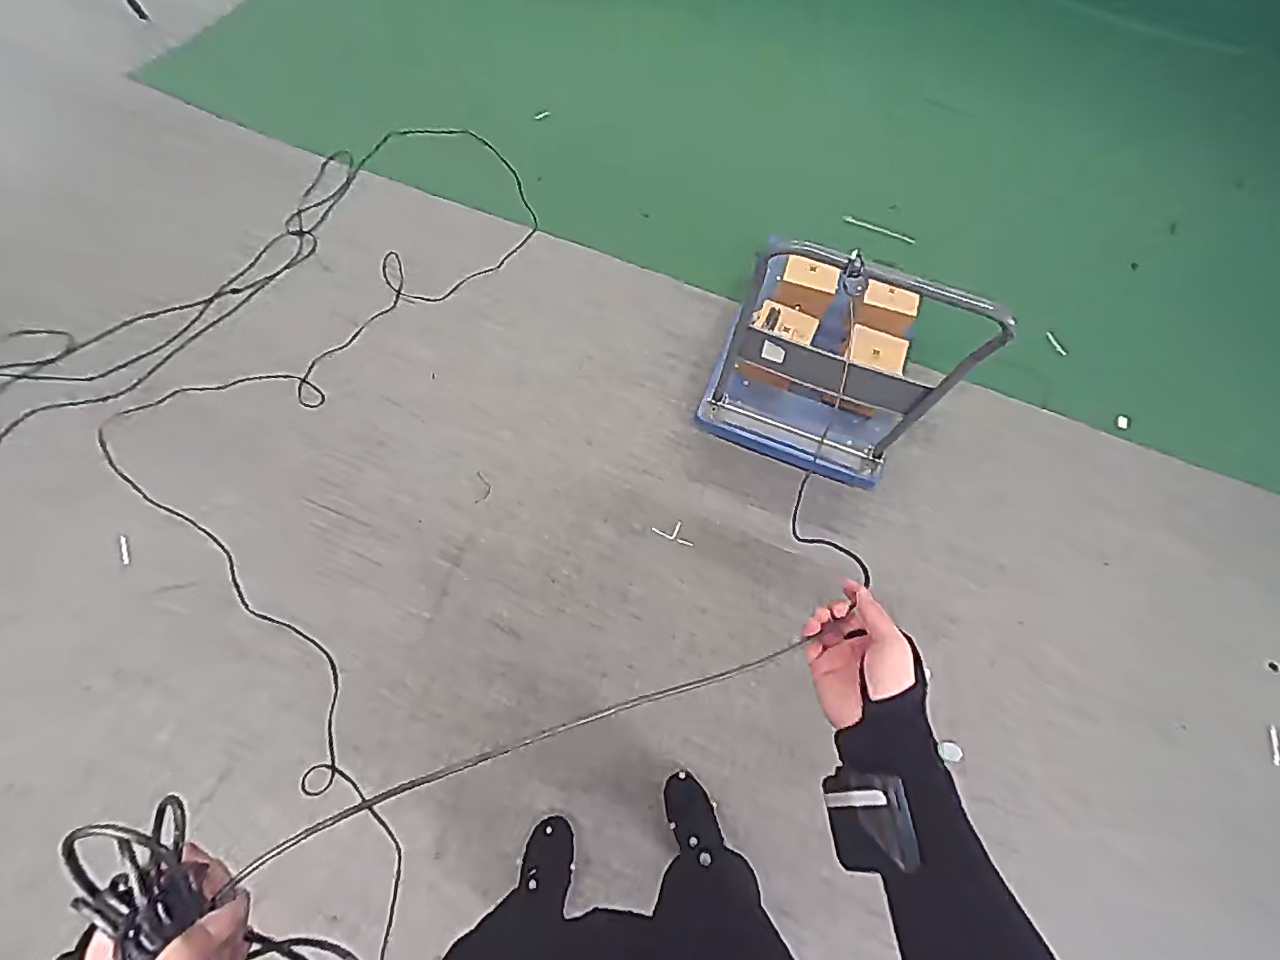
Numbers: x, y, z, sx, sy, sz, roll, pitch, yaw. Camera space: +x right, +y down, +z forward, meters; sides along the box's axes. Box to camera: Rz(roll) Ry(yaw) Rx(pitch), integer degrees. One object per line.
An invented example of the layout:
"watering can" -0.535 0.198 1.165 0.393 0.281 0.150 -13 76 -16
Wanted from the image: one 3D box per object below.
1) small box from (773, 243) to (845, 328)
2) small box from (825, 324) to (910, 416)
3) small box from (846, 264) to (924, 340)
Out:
"small box" 0.545 -0.628 1.764 0.168 0.176 0.179 18 65 5
"small box" 0.681 -0.327 1.630 0.168 0.176 0.179 23 67 7
"small box" 0.784 -0.551 1.740 0.168 0.176 0.179 18 66 6
